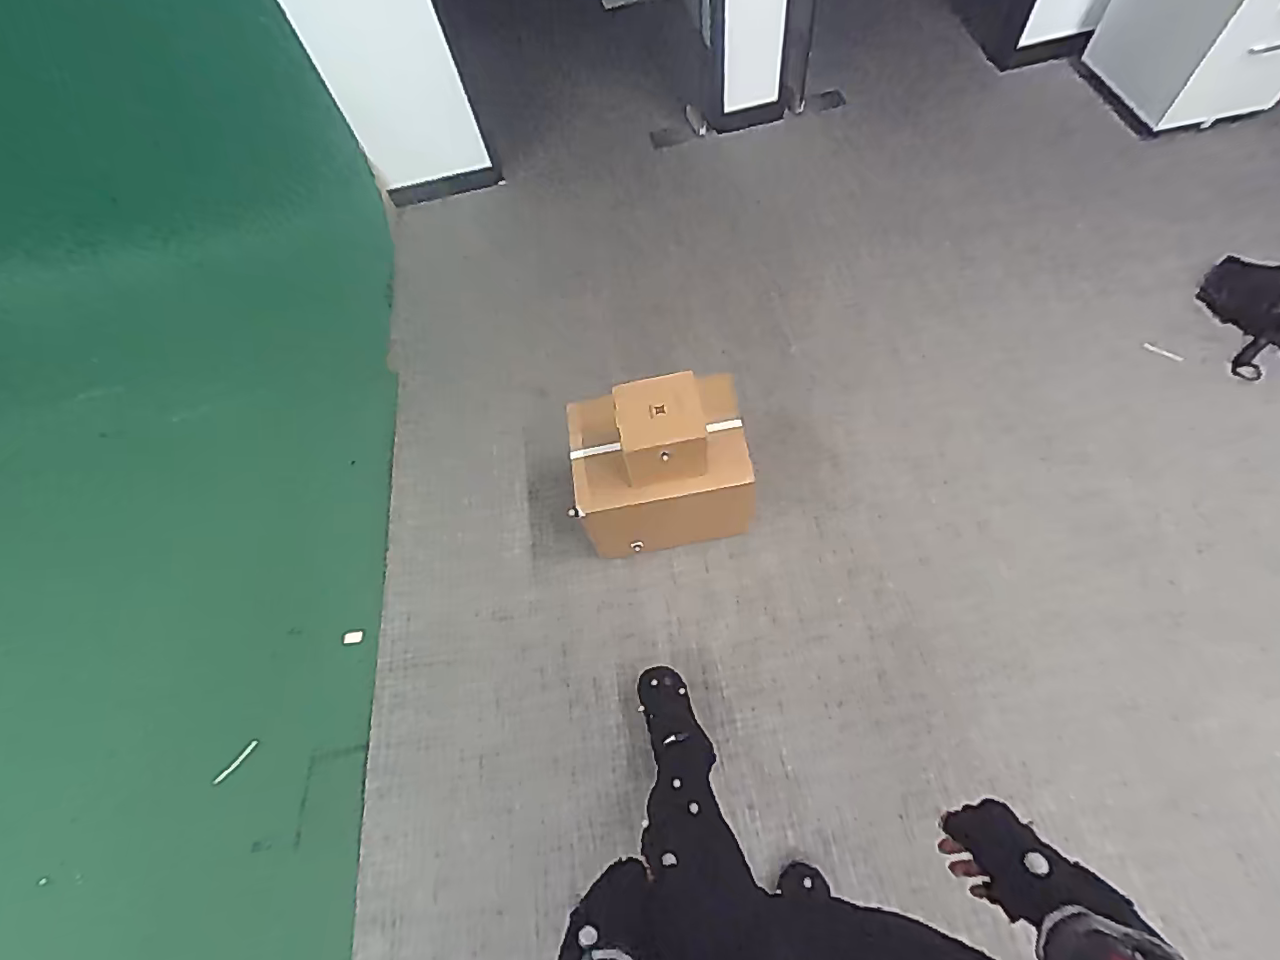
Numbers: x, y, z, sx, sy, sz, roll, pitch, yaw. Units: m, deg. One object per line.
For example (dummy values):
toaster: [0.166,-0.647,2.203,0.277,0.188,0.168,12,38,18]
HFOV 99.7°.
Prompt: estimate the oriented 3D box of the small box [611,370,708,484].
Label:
small box: [0.046,-0.108,1.169,0.179,0.176,0.168,-12,64,1]
